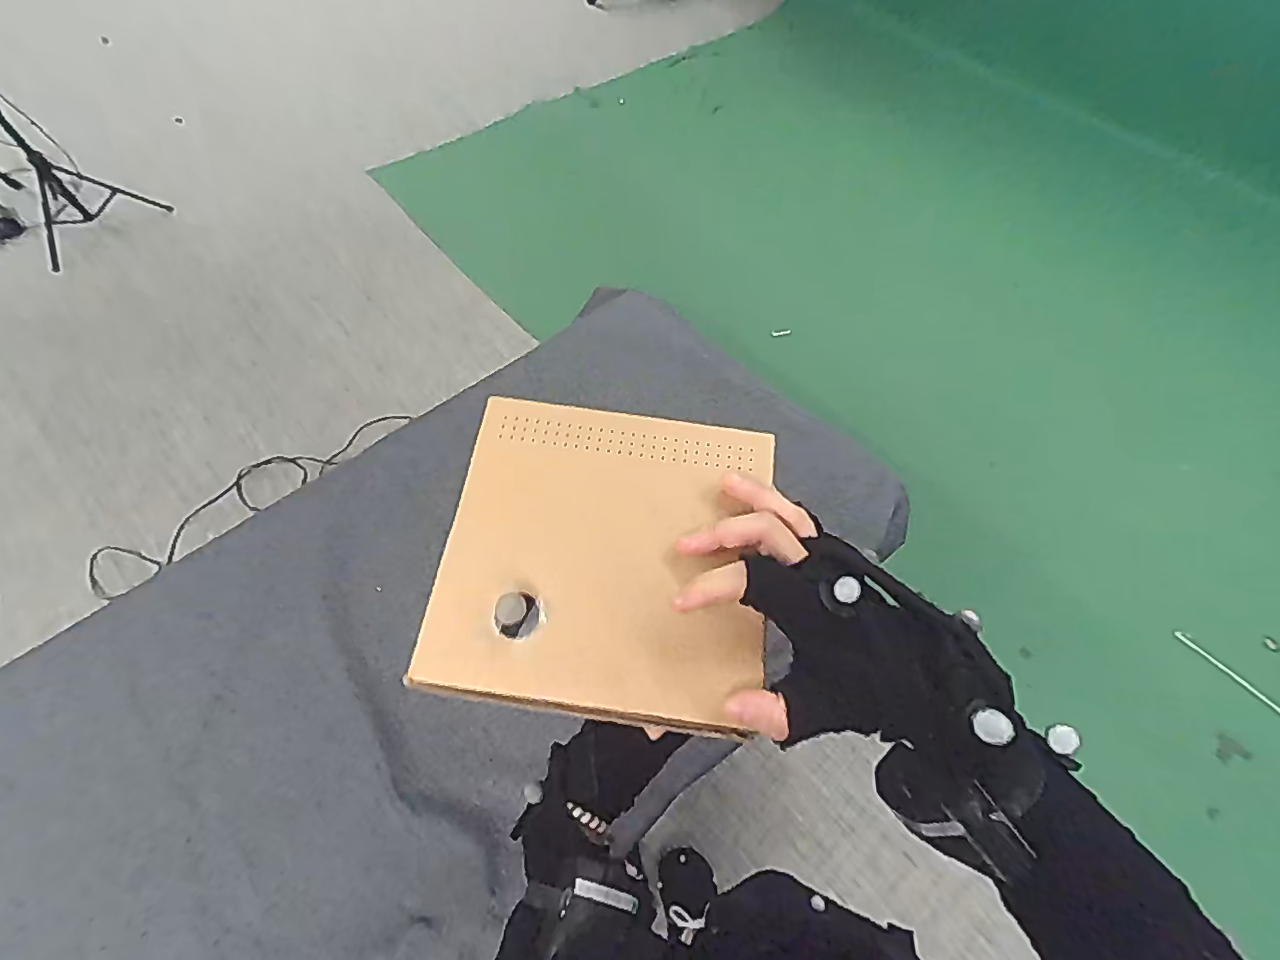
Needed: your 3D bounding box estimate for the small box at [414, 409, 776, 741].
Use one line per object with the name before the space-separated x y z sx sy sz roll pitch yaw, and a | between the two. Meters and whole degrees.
small box | -0.017 0.069 0.361 0.179 0.168 0.176 7 66 1
